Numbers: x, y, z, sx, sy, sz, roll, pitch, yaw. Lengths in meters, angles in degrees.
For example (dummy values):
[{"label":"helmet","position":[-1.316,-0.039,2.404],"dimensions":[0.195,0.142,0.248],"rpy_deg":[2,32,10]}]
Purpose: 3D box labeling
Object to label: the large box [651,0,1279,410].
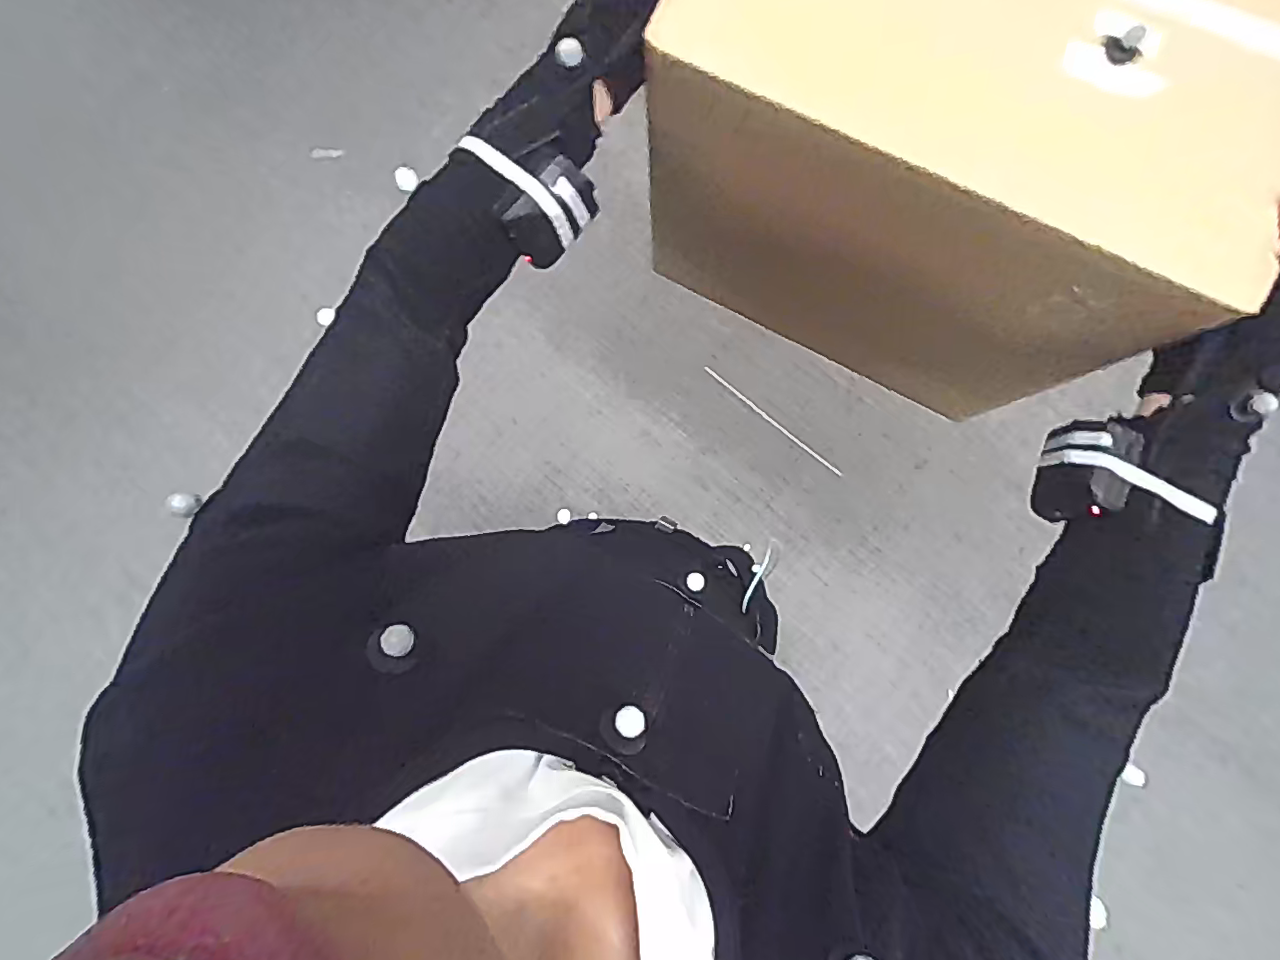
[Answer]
[{"label":"large box","position":[0.253,-0.315,0.507],"dimensions":[0.408,0.320,0.320],"rpy_deg":[27,86,3]}]
